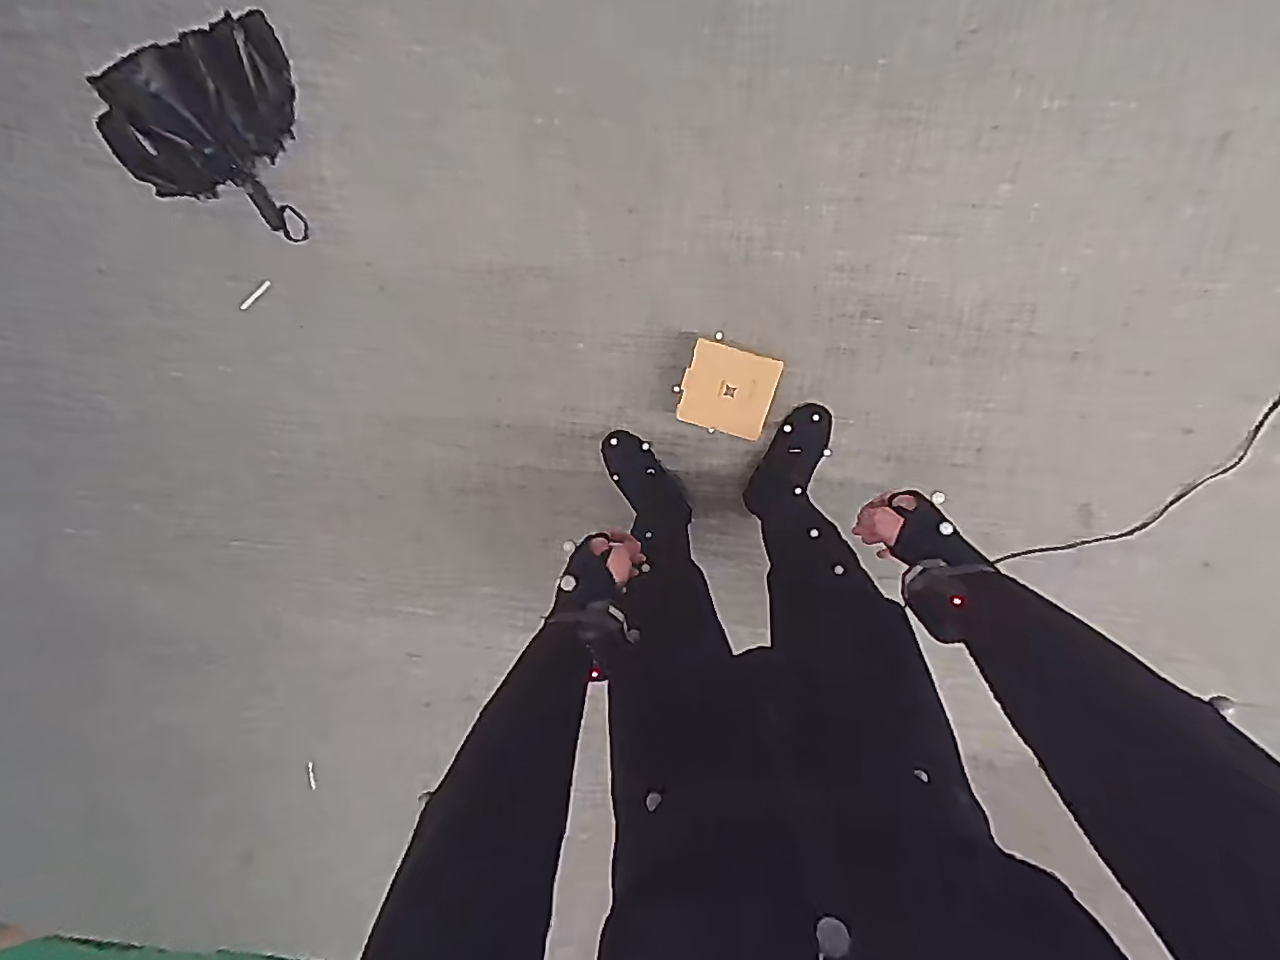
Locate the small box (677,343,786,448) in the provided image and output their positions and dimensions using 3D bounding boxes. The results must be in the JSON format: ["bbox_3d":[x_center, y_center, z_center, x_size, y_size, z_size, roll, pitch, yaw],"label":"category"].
[{"bbox_3d":[0.184,-0.186,1.142,0.179,0.176,0.168,16,110,-1],"label":"small box"}]
